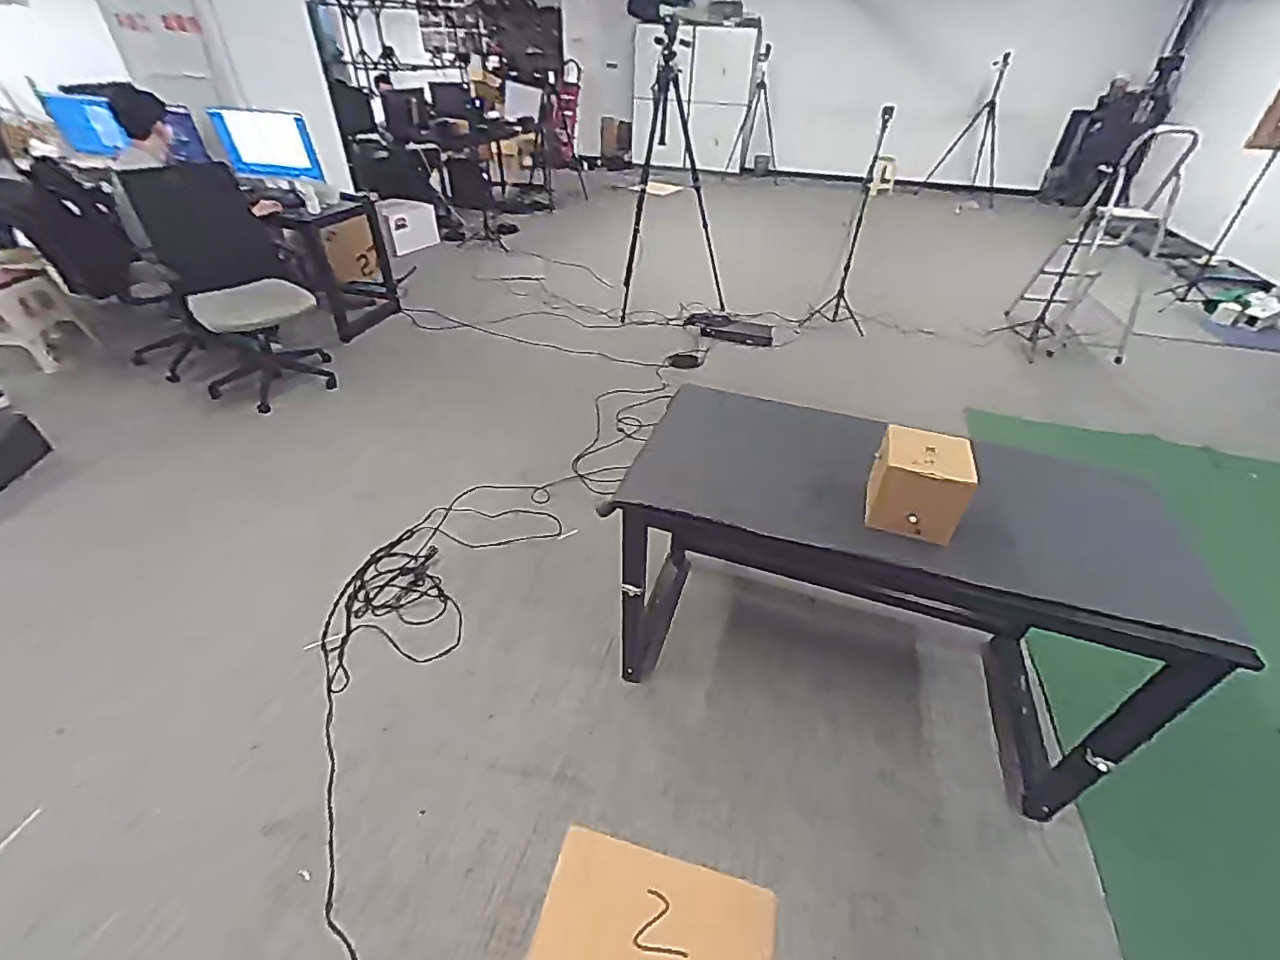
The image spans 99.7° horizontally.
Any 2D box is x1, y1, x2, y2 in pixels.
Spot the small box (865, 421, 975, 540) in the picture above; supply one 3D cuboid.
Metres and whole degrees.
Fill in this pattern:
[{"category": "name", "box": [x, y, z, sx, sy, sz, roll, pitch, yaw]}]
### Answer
[{"category": "small box", "box": [0.596, -0.001, 1.172, 0.168, 0.176, 0.179, 14, 39, 15]}]
